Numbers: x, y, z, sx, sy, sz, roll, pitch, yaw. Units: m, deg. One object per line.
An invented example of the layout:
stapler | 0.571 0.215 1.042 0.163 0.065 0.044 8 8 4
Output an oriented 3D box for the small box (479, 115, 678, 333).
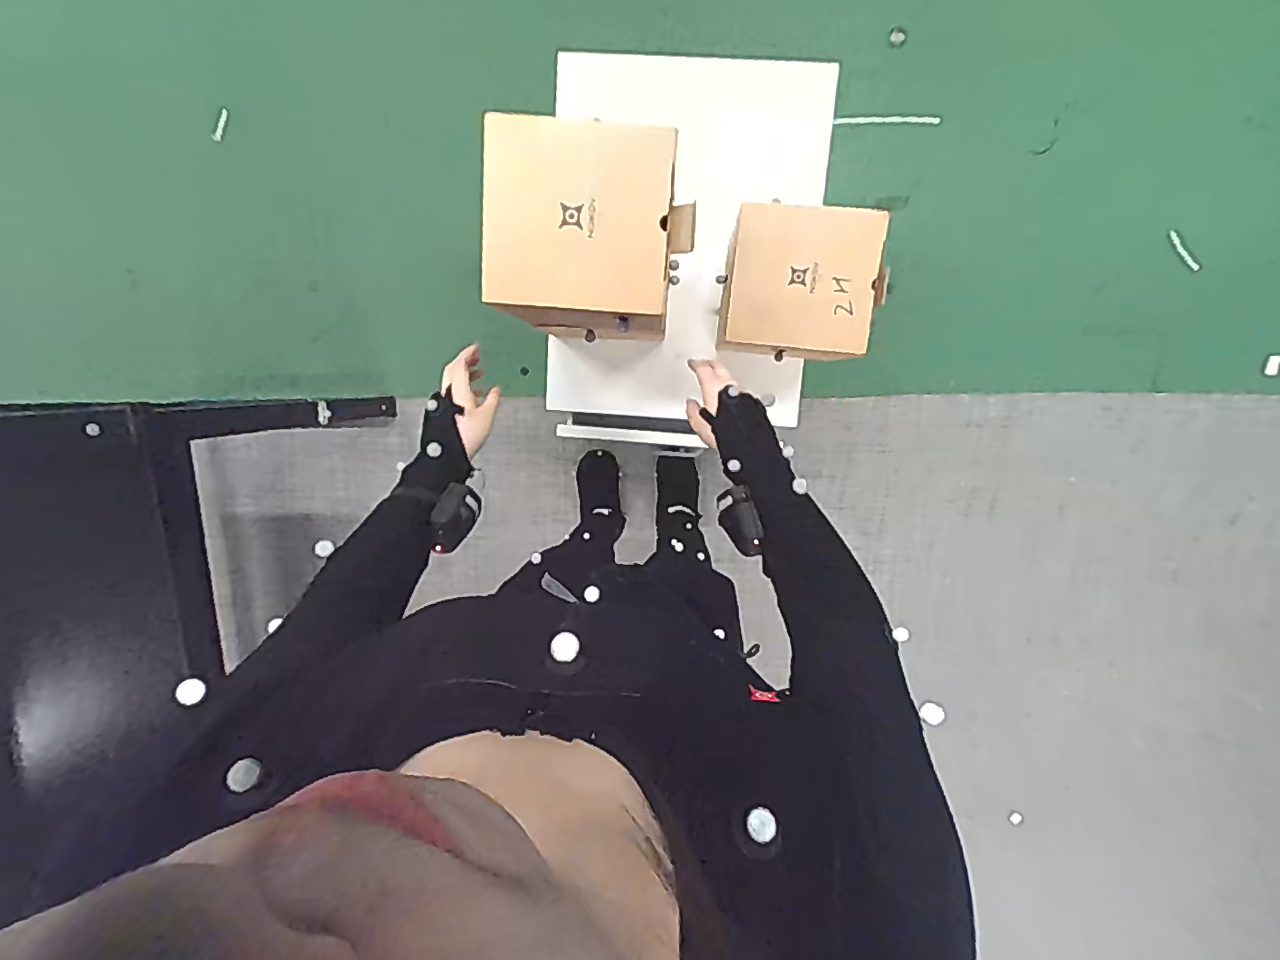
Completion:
small box | -0.055 -0.249 0.566 0.179 0.176 0.168 4 100 1

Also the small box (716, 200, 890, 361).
small box | 0.199 -0.251 0.718 0.179 0.176 0.168 6 101 2

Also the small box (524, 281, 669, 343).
small box | -0.049 -0.276 0.728 0.179 0.176 0.168 3 100 2
